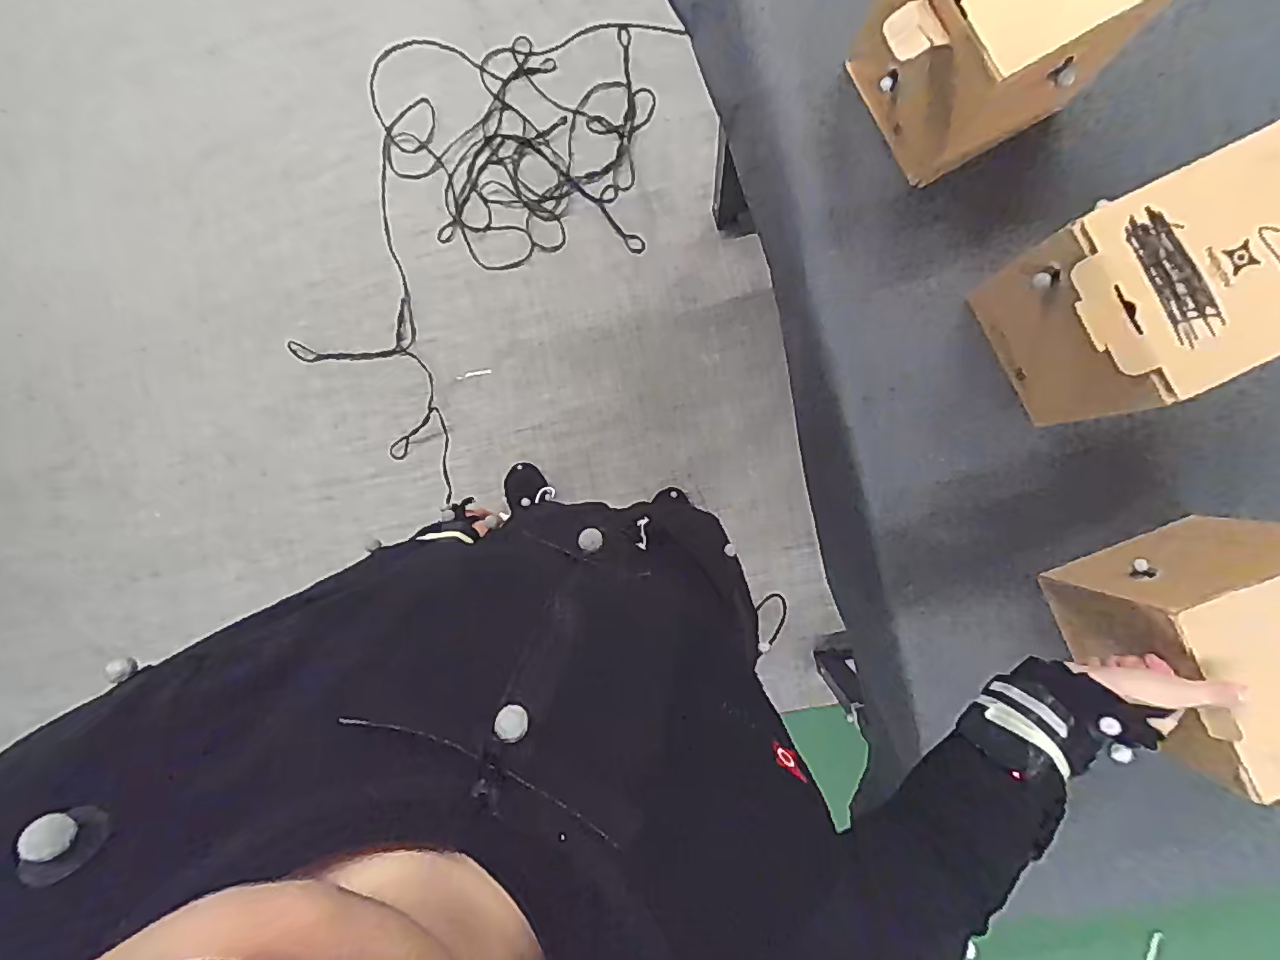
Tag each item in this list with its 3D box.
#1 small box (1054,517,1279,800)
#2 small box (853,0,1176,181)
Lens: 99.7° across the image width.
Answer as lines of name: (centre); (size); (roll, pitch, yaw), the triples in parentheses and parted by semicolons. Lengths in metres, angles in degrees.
small box: (0.533, 0.144, 0.498); (0.179, 0.176, 0.168); (-24, 89, 3)
small box: (0.337, -0.433, 0.511); (0.179, 0.176, 0.168); (-28, 88, 5)
